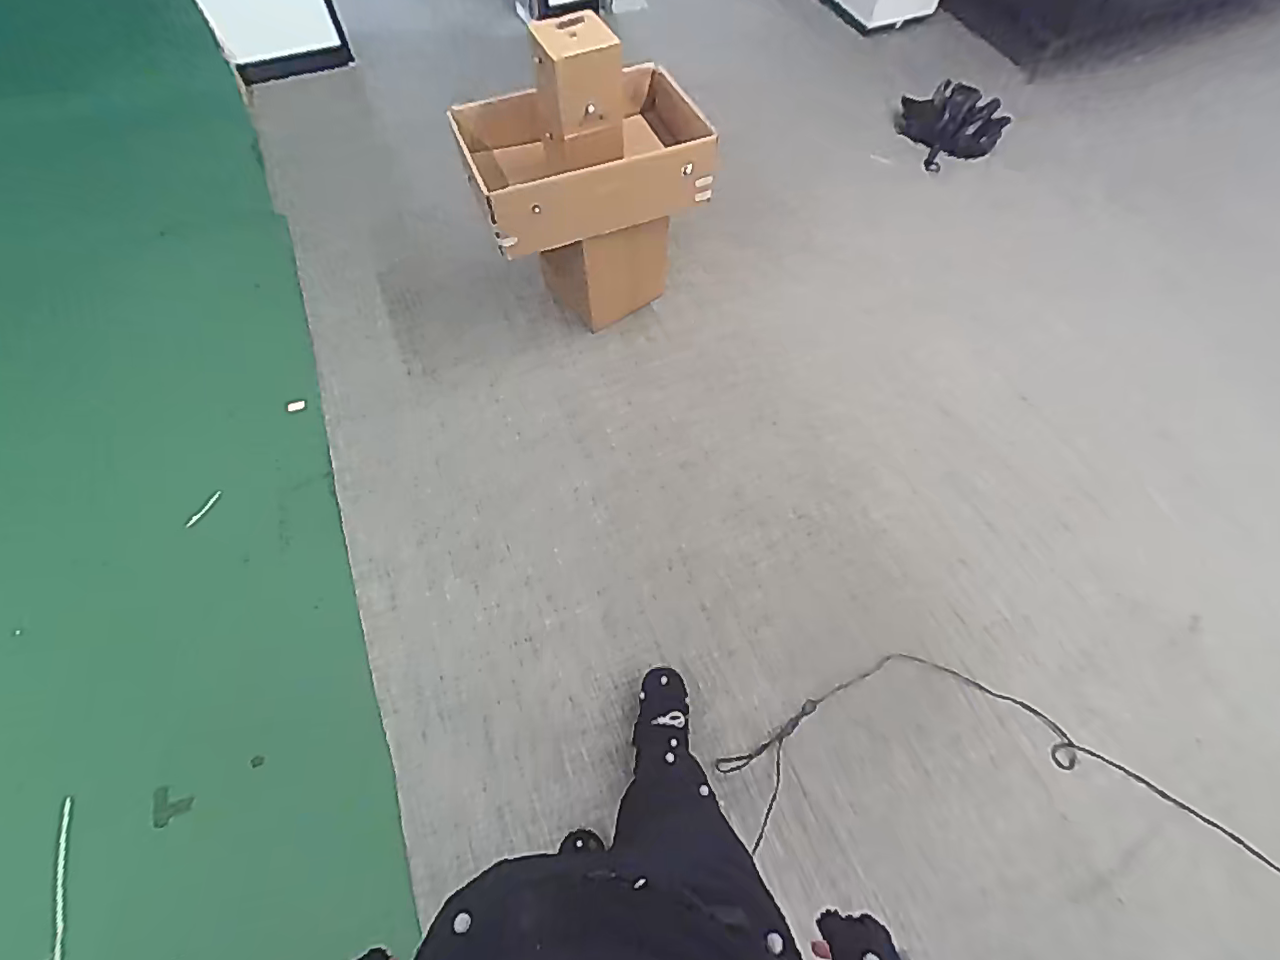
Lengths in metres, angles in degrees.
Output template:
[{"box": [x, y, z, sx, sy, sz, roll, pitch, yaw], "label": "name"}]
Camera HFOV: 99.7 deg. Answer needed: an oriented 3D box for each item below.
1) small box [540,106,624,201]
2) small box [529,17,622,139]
[{"box": [-0.153, -0.890, 1.452, 0.168, 0.176, 0.179, -25, 66, -12], "label": "small box"}, {"box": [-0.152, -0.969, 1.308, 0.168, 0.176, 0.179, -23, 65, -11], "label": "small box"}]
